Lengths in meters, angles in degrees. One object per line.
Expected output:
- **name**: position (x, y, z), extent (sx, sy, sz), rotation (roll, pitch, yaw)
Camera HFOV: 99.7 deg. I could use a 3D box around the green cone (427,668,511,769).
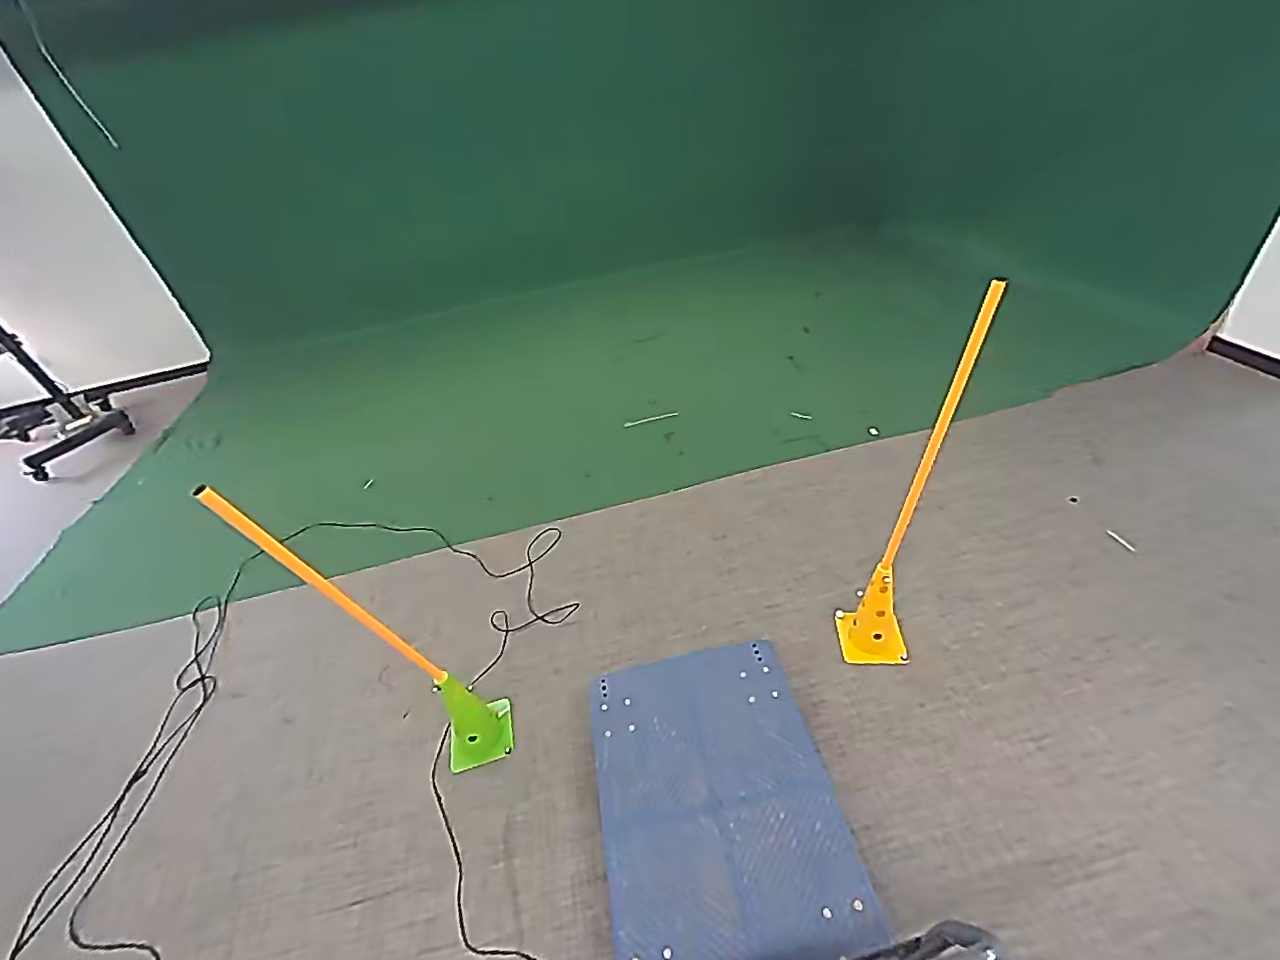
- **green cone**: position (-0.552, 0.683, 1.649), extent (0.202, 0.368, 0.200), rotation (-17, 39, -6)
